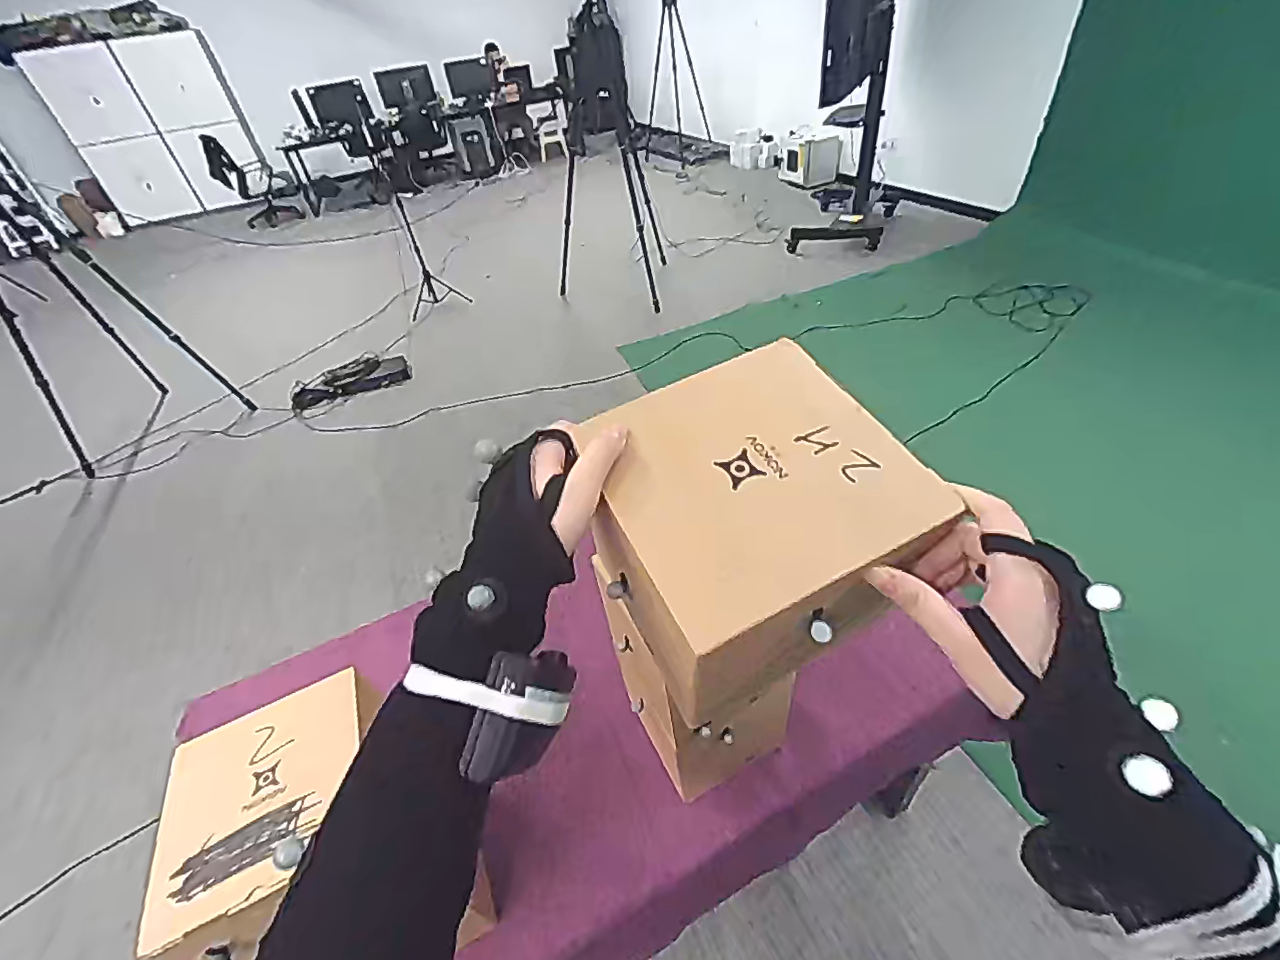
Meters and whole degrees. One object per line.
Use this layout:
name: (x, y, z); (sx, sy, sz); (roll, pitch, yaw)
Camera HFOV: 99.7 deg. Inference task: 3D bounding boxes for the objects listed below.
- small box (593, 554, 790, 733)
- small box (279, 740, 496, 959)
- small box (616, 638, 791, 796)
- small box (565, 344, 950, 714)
small box: (0.065, 0.166, 0.634); (0.168, 0.176, 0.179); (-24, 43, -16)
small box: (-0.286, 0.452, 0.631); (0.168, 0.176, 0.179); (-23, 44, -14)
small box: (0.085, 0.288, 0.743); (0.168, 0.176, 0.179); (-25, 43, -14)
small box: (0.068, 0.040, 0.389); (0.179, 0.176, 0.168); (-24, 57, -13)
